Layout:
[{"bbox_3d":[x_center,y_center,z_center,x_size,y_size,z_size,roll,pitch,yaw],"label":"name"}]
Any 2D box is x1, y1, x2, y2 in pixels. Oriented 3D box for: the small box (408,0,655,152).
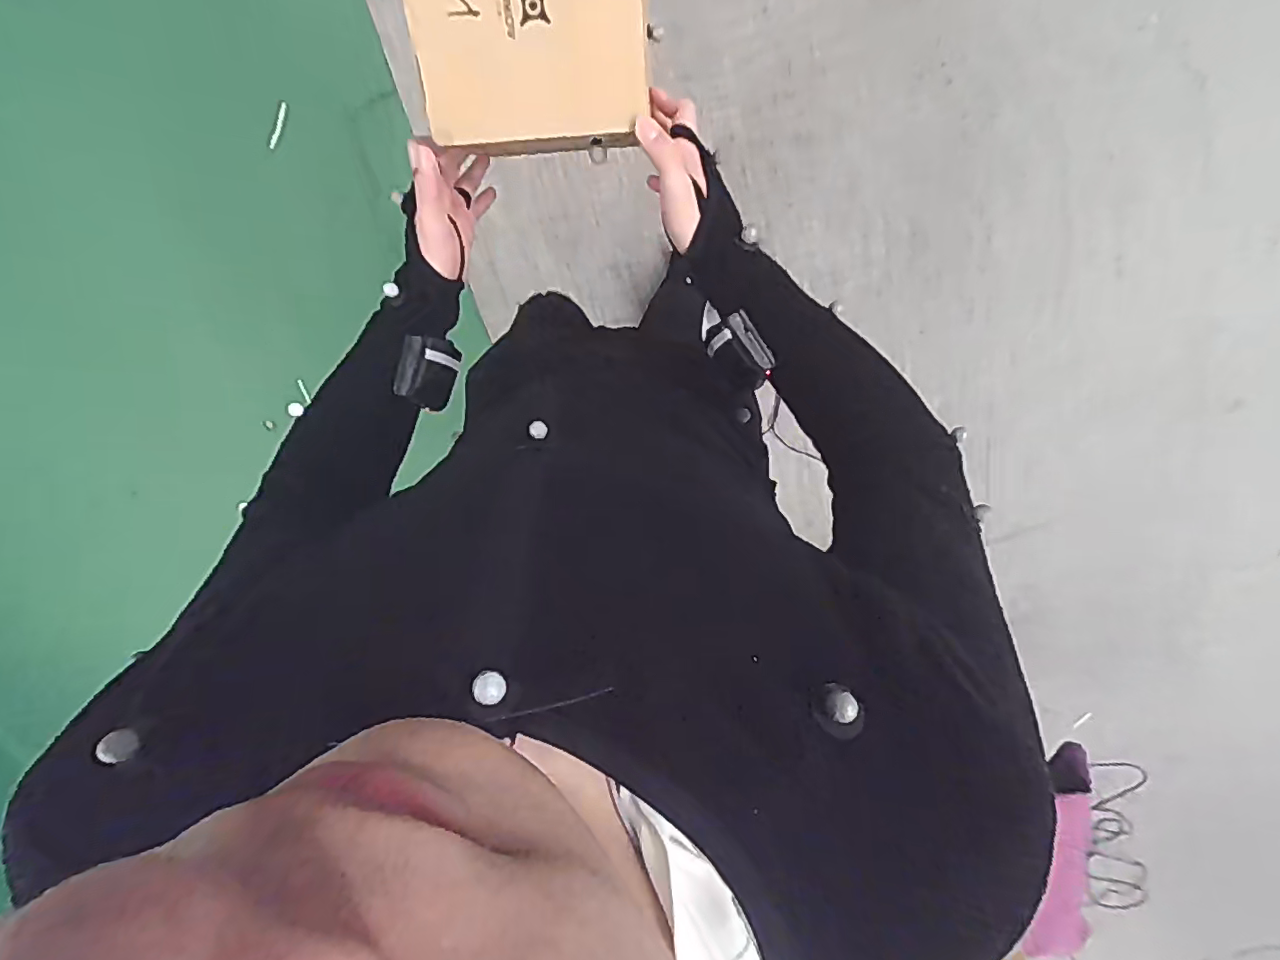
[{"bbox_3d":[-0.077,-0.380,0.457,0.179,0.176,0.168,-1,118,4],"label":"small box"}]
